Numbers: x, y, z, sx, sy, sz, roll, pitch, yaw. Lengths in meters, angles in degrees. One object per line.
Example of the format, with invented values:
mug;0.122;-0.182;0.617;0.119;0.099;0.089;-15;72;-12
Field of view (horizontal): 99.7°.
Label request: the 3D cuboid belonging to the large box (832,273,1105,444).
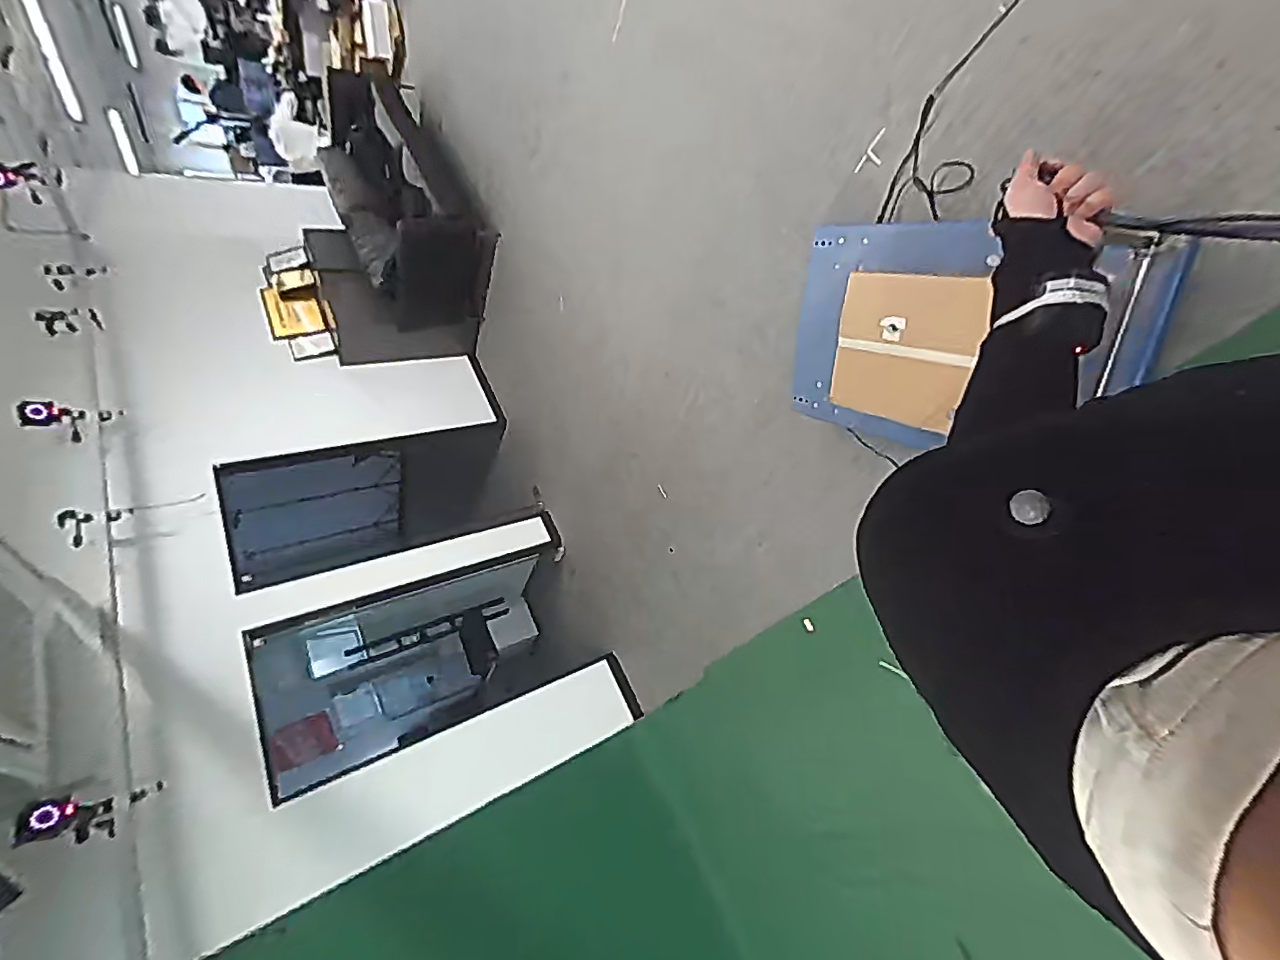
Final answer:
large box;0.717;-0.300;1.226;0.408;0.320;0.320;31;126;49
